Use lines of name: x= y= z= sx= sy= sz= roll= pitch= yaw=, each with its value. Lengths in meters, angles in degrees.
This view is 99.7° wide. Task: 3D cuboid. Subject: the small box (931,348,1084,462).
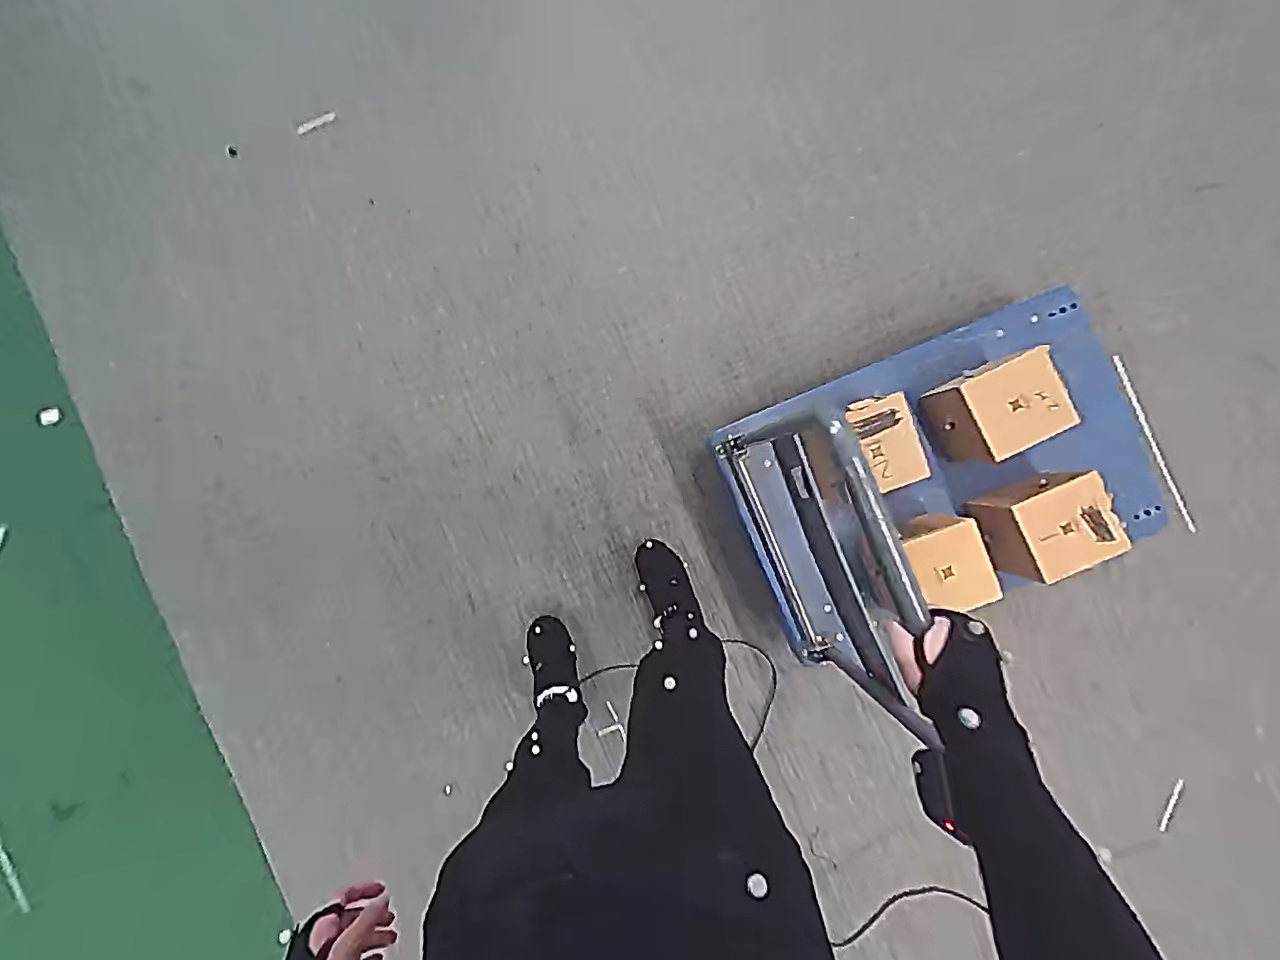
small box: x=0.726 y=-0.141 z=1.097 sx=0.179 sy=0.176 sz=0.168 roll=-25 pitch=90 yaw=2

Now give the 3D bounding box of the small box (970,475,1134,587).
small box: x=0.821 y=0.095 z=1.096 sx=0.179 sy=0.176 sz=0.168 roll=-23 pitch=89 yaw=3

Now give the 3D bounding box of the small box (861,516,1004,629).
small box: x=0.588 y=0.180 z=1.108 sx=0.179 sy=0.176 sz=0.168 roll=-20 pitch=90 yaw=3
